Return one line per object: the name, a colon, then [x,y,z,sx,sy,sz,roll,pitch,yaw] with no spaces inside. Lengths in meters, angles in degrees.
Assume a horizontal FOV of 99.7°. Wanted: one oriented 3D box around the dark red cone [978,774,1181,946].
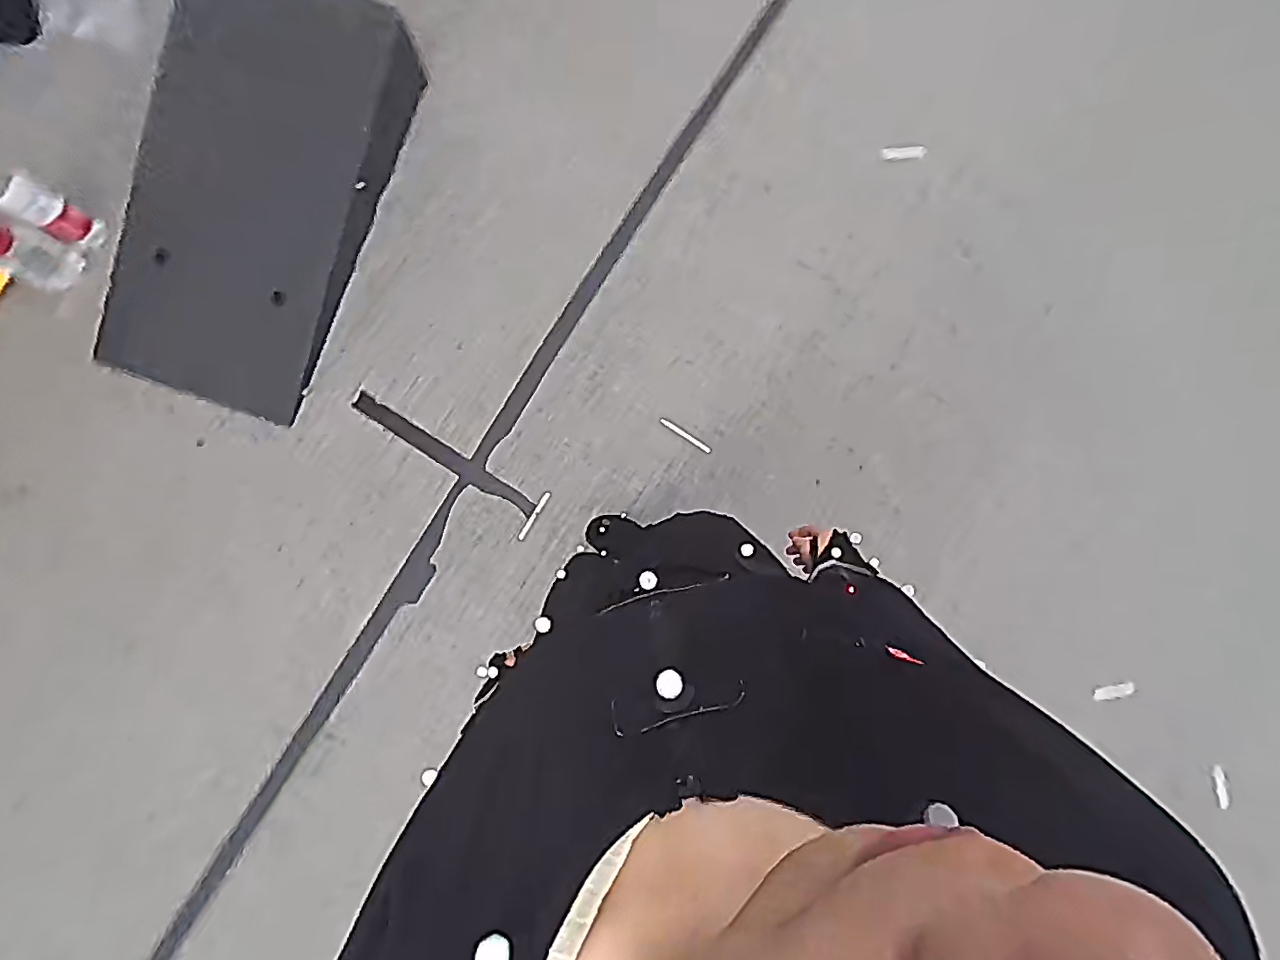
dark red cone: [0.999,0.874,1.224,0.202,0.394,0.201,32,86,-3]
